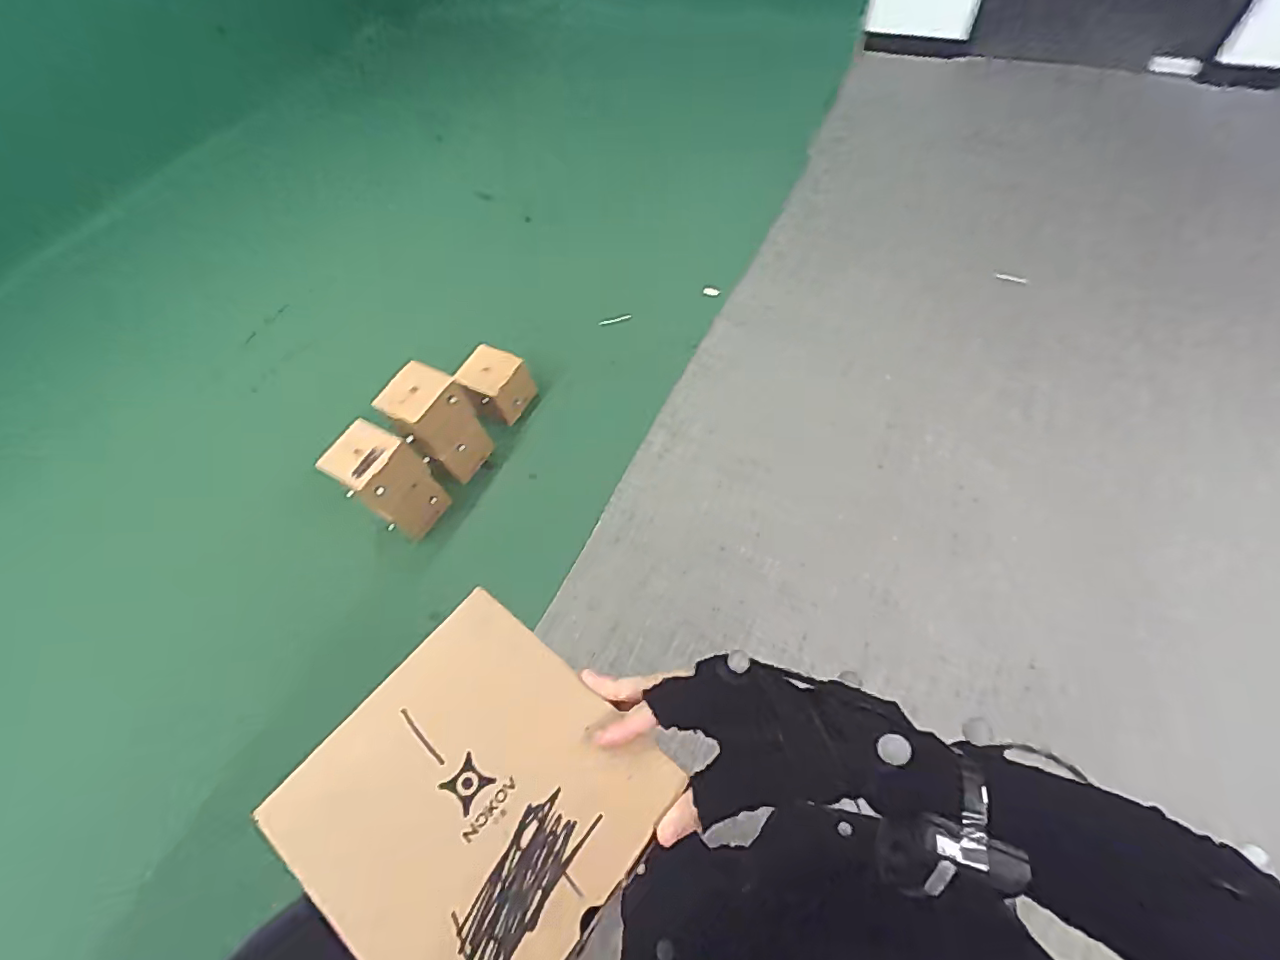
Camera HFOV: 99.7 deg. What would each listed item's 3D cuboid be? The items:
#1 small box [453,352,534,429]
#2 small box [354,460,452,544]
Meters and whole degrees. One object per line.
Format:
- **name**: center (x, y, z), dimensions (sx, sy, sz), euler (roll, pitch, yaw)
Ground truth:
- **small box**: center (-0.486, -0.295, 1.817), dimensions (0.179, 0.176, 0.168), euler (22, 65, 18)
- **small box**: center (-0.709, 0.073, 1.639), dimensions (0.179, 0.176, 0.168), euler (26, 67, 20)
